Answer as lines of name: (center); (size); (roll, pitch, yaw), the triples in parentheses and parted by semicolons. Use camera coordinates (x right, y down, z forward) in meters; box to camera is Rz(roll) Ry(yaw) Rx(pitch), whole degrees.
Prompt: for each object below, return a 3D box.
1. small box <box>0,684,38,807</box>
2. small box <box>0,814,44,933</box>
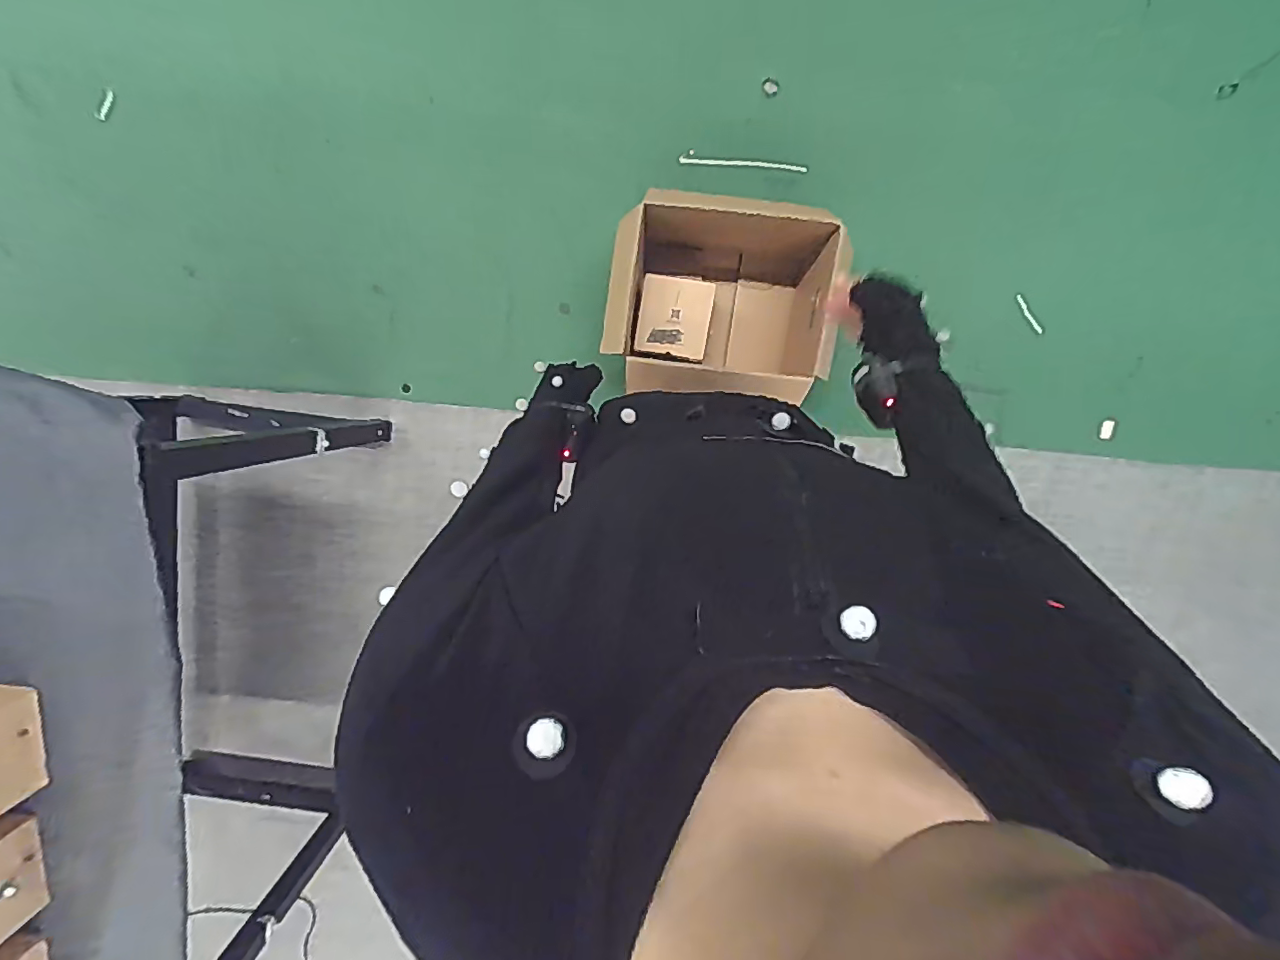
small box: (-1.008, 0.398, 0.755); (0.179, 0.176, 0.168); (4, 100, 2)
small box: (-1.052, 0.616, 0.790); (0.179, 0.176, 0.168); (3, 100, 1)
